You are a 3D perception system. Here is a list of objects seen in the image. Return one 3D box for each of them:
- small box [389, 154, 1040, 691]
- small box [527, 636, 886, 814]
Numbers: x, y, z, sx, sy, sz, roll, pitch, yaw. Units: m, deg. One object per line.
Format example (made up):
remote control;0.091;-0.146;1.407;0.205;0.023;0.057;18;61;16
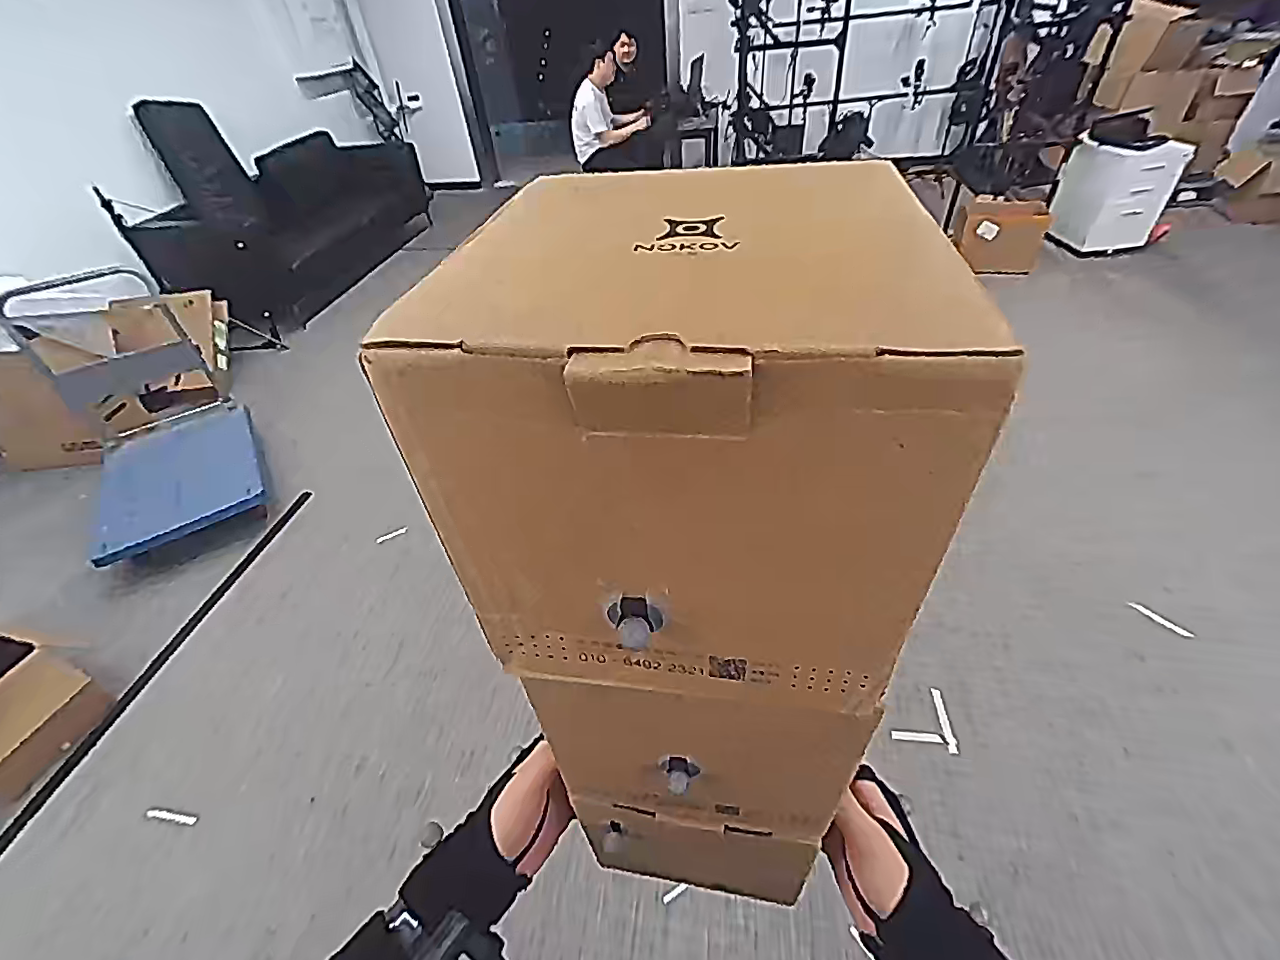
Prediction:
small box;0.028;-0.033;0.247;0.168;0.176;0.179;2;42;9
small box;0.045;0.089;0.353;0.168;0.176;0.179;3;41;9
